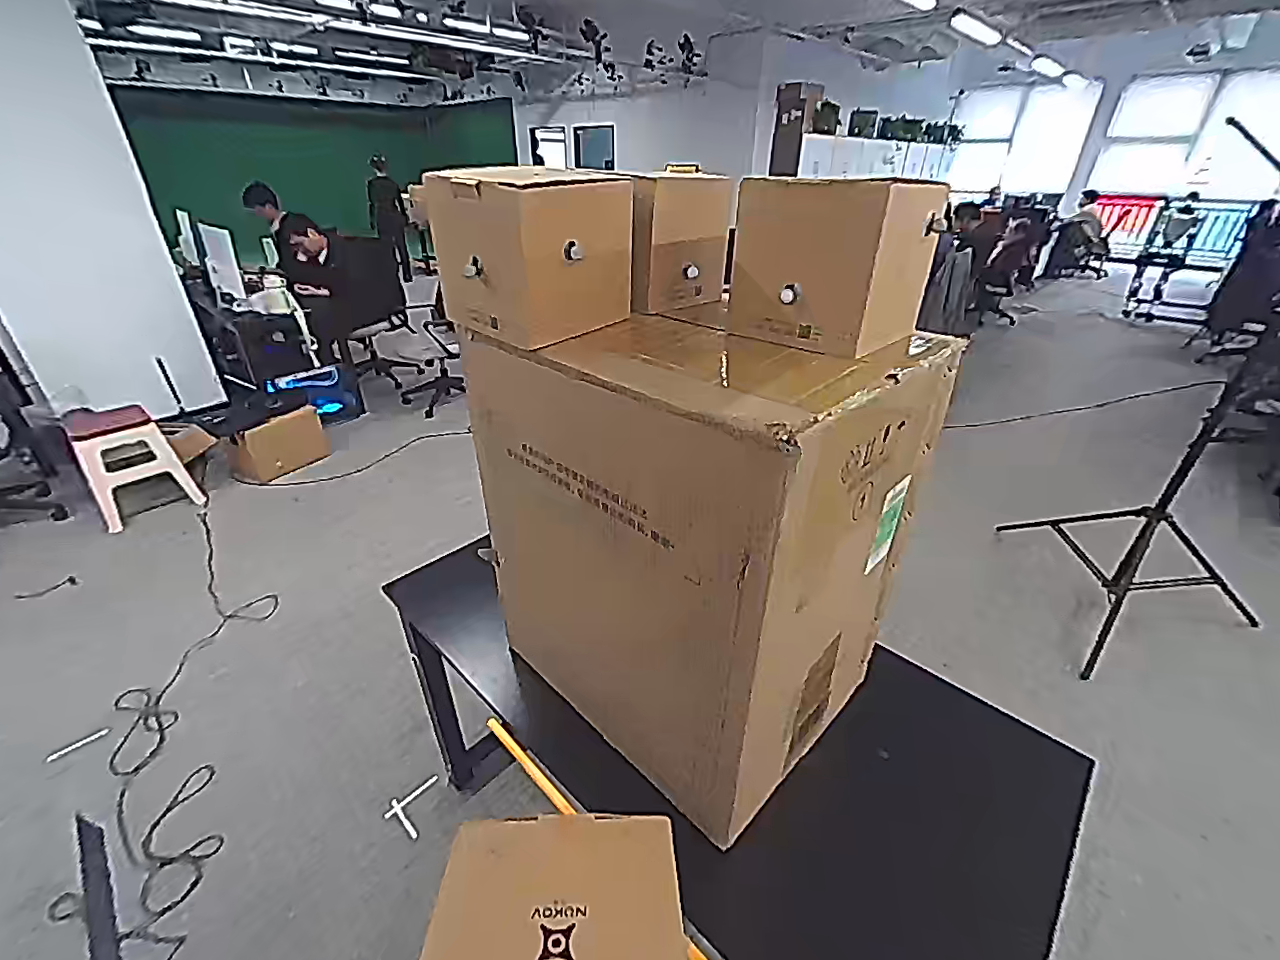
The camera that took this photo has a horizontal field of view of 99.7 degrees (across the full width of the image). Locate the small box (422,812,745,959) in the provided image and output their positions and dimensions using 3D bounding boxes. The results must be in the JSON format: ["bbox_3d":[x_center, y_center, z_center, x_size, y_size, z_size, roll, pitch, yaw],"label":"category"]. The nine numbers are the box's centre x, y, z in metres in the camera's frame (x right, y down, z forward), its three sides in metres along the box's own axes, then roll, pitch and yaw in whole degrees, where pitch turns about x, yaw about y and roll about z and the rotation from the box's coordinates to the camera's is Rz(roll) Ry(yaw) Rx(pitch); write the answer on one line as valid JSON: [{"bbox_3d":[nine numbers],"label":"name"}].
[{"bbox_3d":[-0.032,0.319,0.293,0.168,0.176,0.179,1,18,-5],"label":"small box"}]

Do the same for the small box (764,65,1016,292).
[{"bbox_3d":[0.242,-0.296,0.548,0.168,0.176,0.179,24,36,36],"label":"small box"}]

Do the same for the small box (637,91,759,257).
[{"bbox_3d":[0.027,-0.395,0.710,0.179,0.176,0.168,29,40,36],"label":"small box"}]

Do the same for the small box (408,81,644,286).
[{"bbox_3d":[-0.109,-0.318,0.577,0.168,0.176,0.179,26,42,30],"label":"small box"}]
